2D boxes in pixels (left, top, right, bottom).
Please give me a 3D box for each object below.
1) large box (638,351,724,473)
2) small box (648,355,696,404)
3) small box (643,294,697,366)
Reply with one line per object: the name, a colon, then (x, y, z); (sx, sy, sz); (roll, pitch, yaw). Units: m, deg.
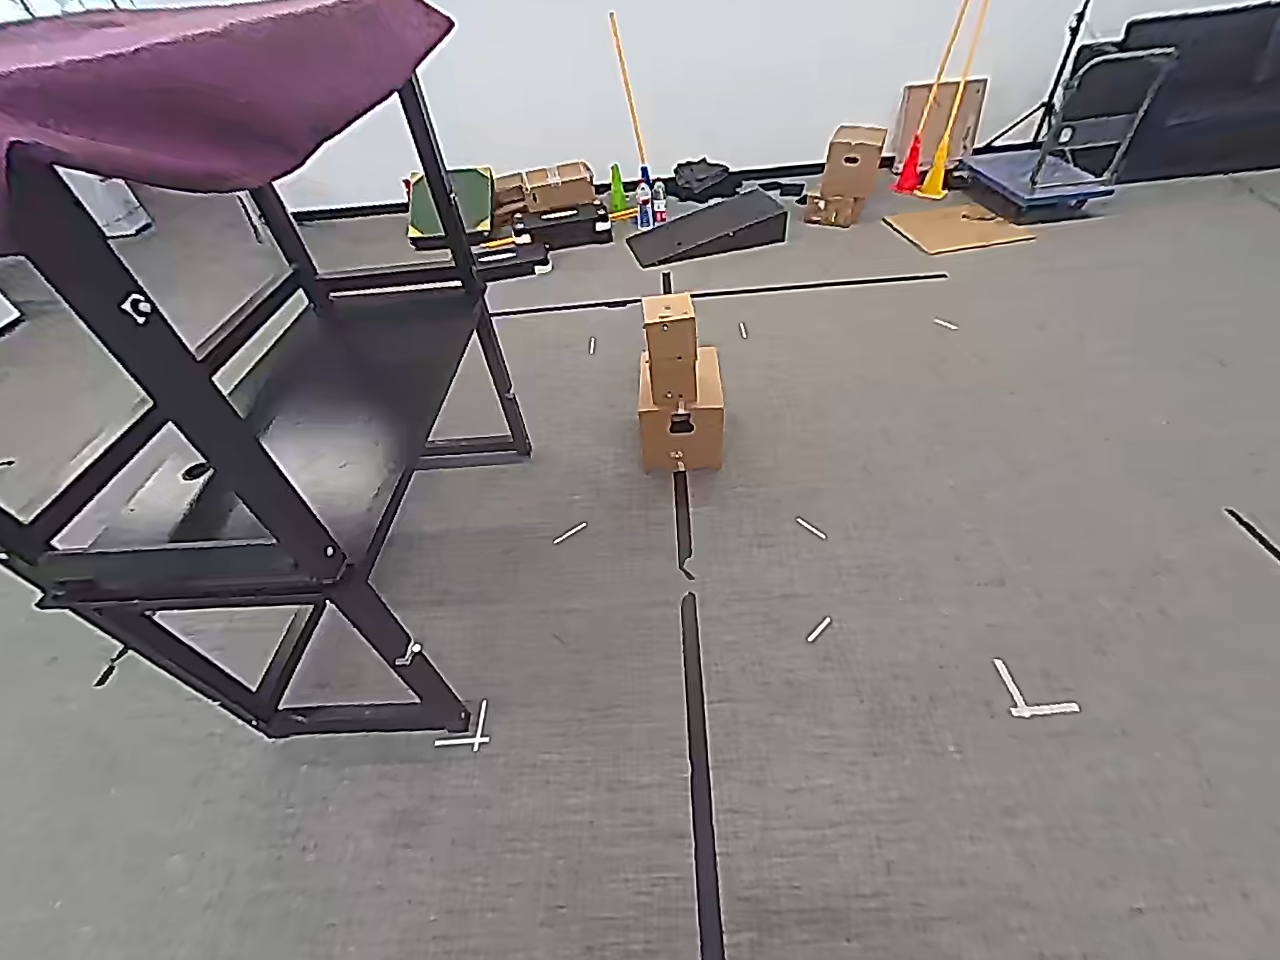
large box: (0.161, -0.276, 2.182); (0.320, 0.320, 0.408); (-2, 44, 4)
small box: (0.117, -0.398, 1.963); (0.168, 0.176, 0.179); (-4, 46, 5)
small box: (0.101, -0.512, 1.846); (0.168, 0.176, 0.179); (-7, 44, 3)
